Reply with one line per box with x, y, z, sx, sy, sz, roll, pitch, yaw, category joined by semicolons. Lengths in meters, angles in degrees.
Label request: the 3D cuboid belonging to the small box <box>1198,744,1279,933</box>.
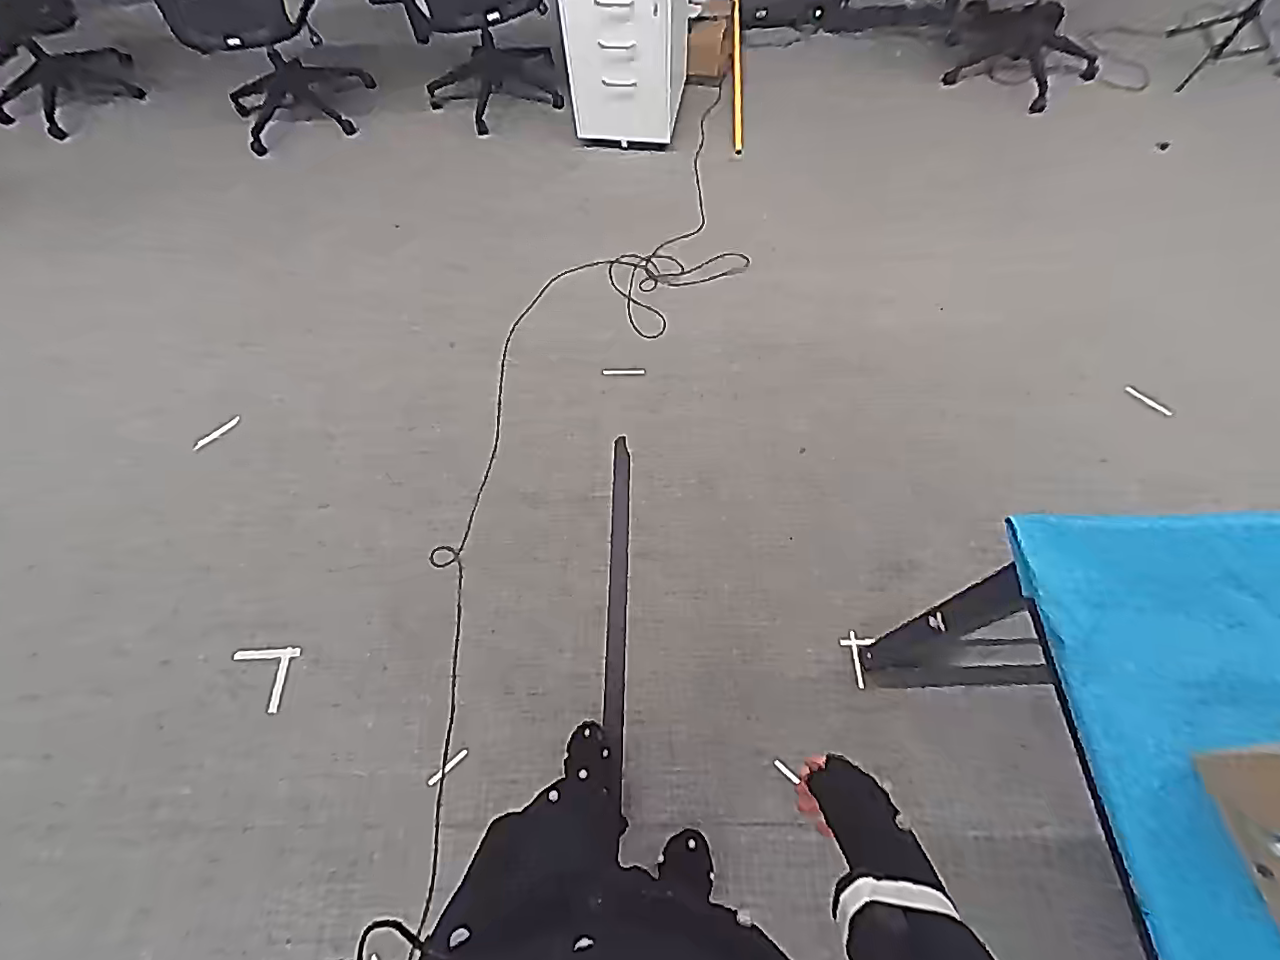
0.686;0.327;0.481;0.179;0.176;0.168;-4;62;3;small box
